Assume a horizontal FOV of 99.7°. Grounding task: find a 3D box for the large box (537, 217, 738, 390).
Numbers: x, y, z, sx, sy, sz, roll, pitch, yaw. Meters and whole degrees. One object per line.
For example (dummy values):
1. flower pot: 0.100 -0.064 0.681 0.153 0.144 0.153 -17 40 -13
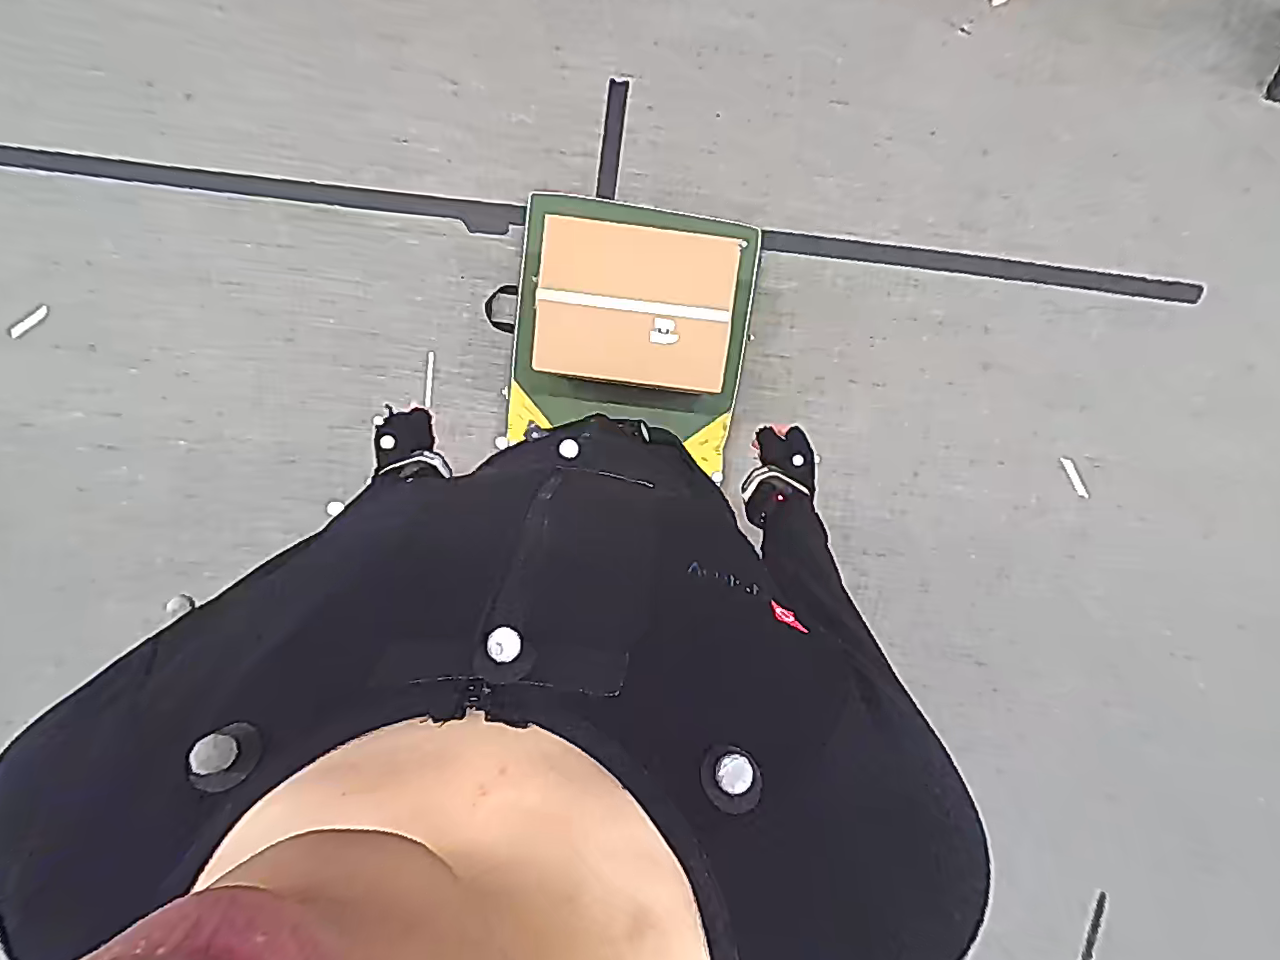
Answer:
1. large box: -0.013 -0.389 1.277 0.408 0.320 0.320 6 99 -2
